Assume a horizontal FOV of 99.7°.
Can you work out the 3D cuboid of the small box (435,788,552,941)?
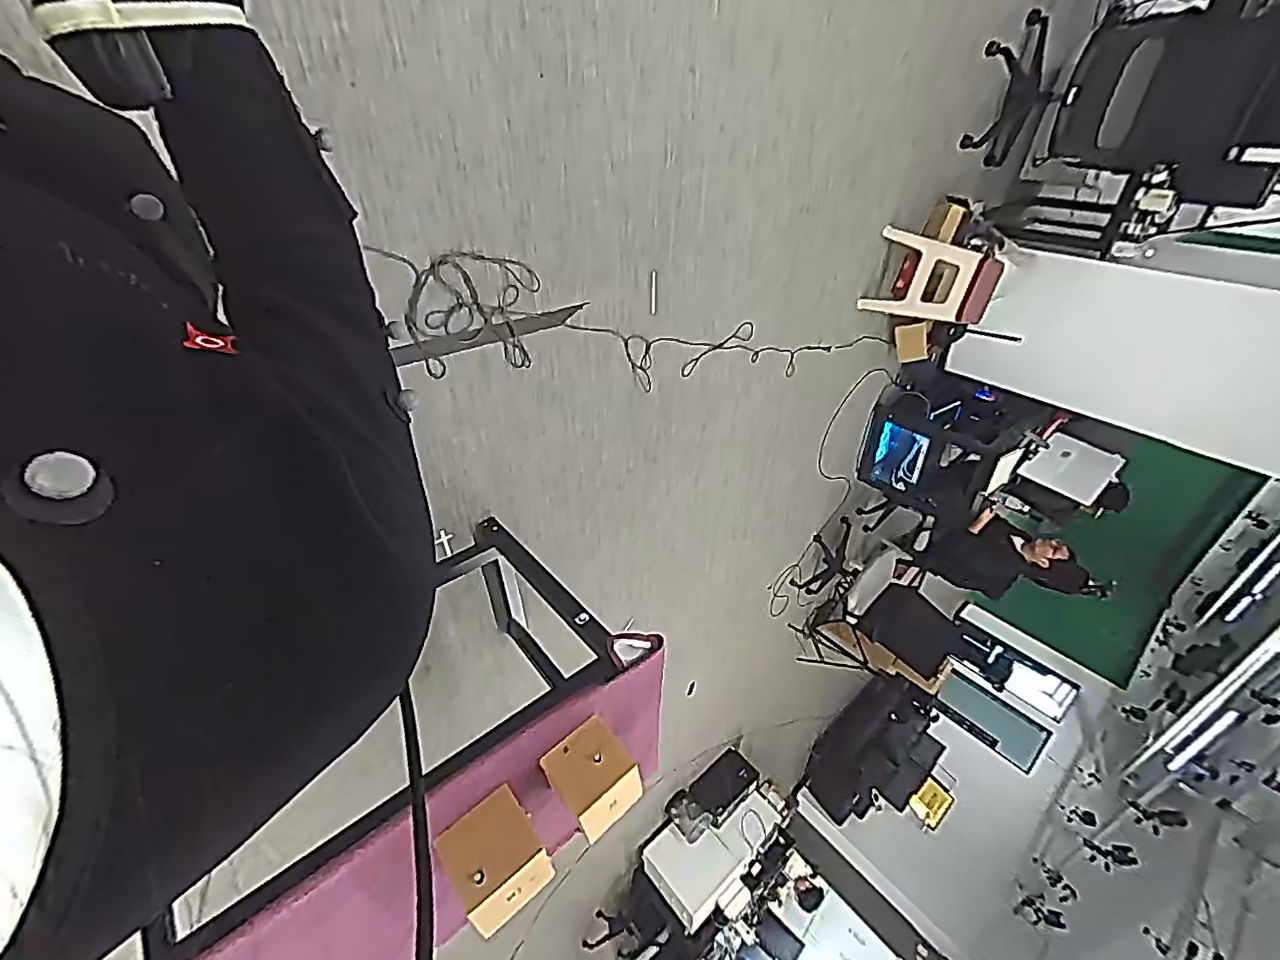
[{"bbox_3d":[-0.314,0.806,1.146,0.179,0.176,0.168,-29,135,-29],"label":"small box"}]

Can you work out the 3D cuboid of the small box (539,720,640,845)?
[{"bbox_3d":[-0.120,0.707,1.282,0.168,0.176,0.179,-32,136,-27],"label":"small box"}]
